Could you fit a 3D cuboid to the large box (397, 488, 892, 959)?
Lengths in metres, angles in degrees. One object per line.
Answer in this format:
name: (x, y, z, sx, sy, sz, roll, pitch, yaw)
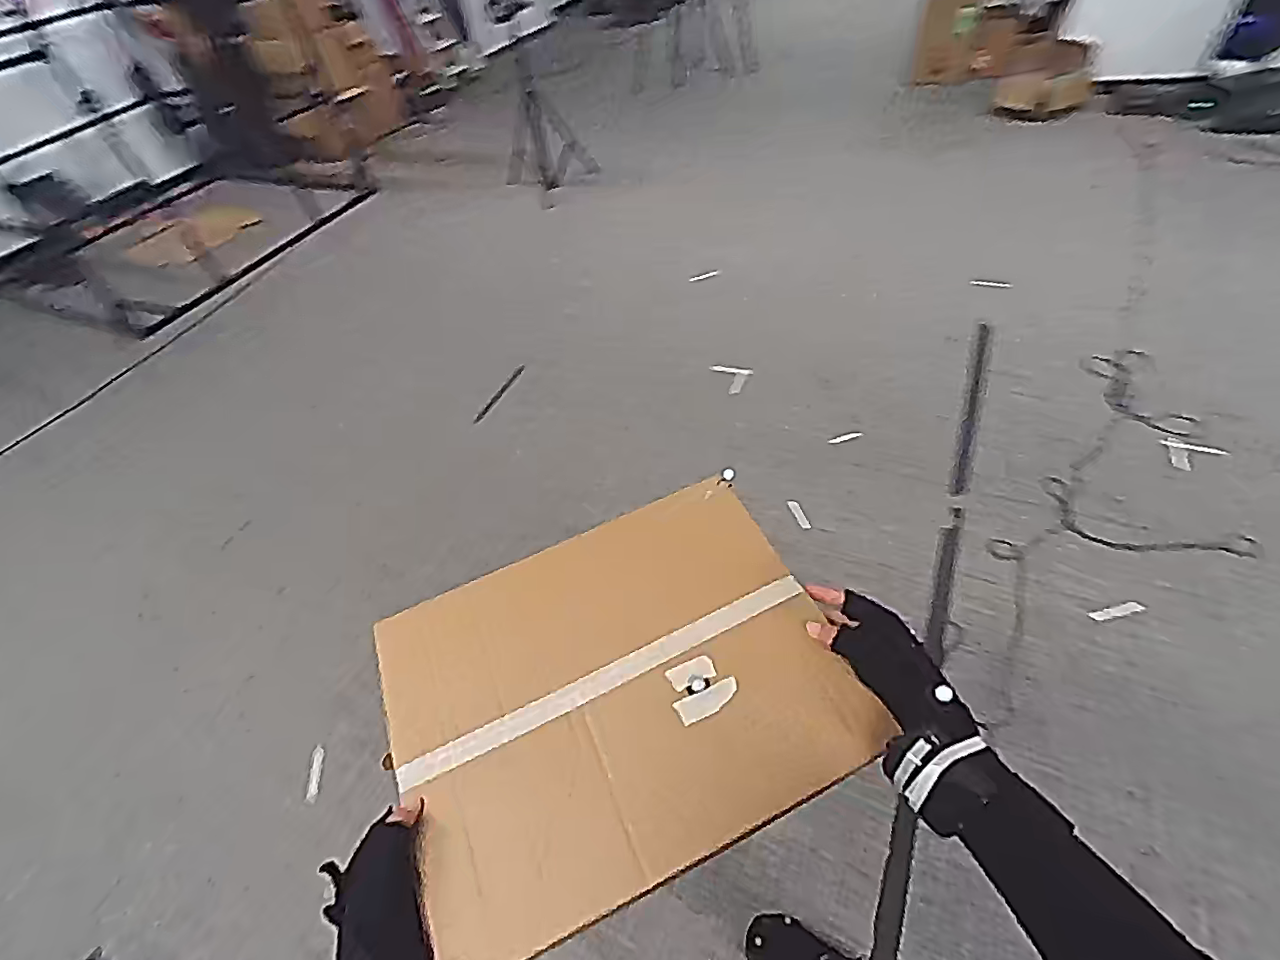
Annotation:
large box: (-0.005, 0.281, 0.639, 0.408, 0.320, 0.320, -23, 56, -10)
